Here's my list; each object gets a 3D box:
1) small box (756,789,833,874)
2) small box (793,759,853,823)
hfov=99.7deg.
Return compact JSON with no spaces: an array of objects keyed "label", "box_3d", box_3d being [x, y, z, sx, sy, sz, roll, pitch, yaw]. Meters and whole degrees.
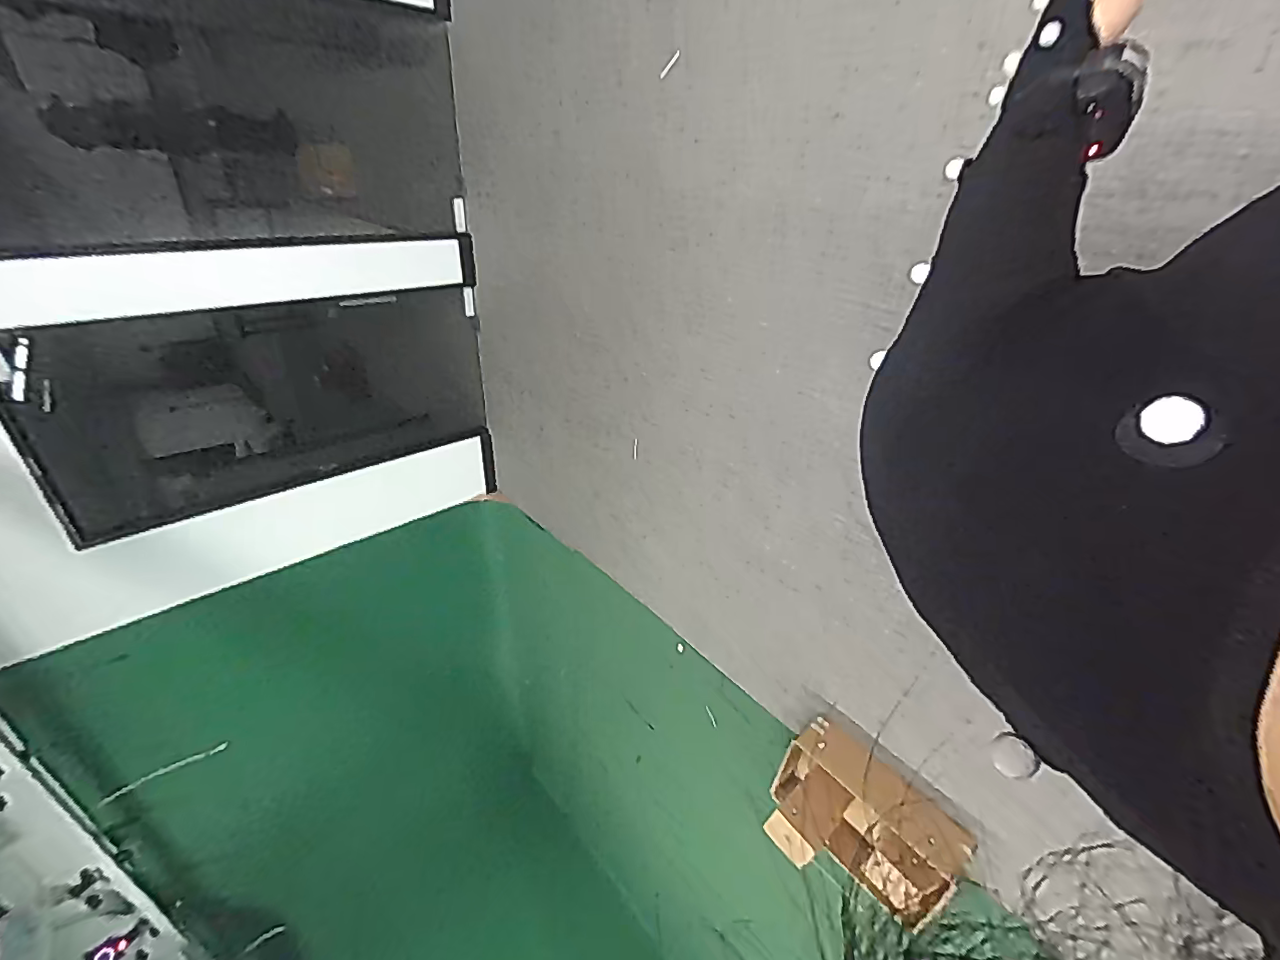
[{"label":"small box","box_3d":[0.553,1.248,1.937,0.179,0.176,0.168,40,134,30]},{"label":"small box","box_3d":[0.673,1.203,2.042,0.168,0.176,0.179,39,132,31]}]
